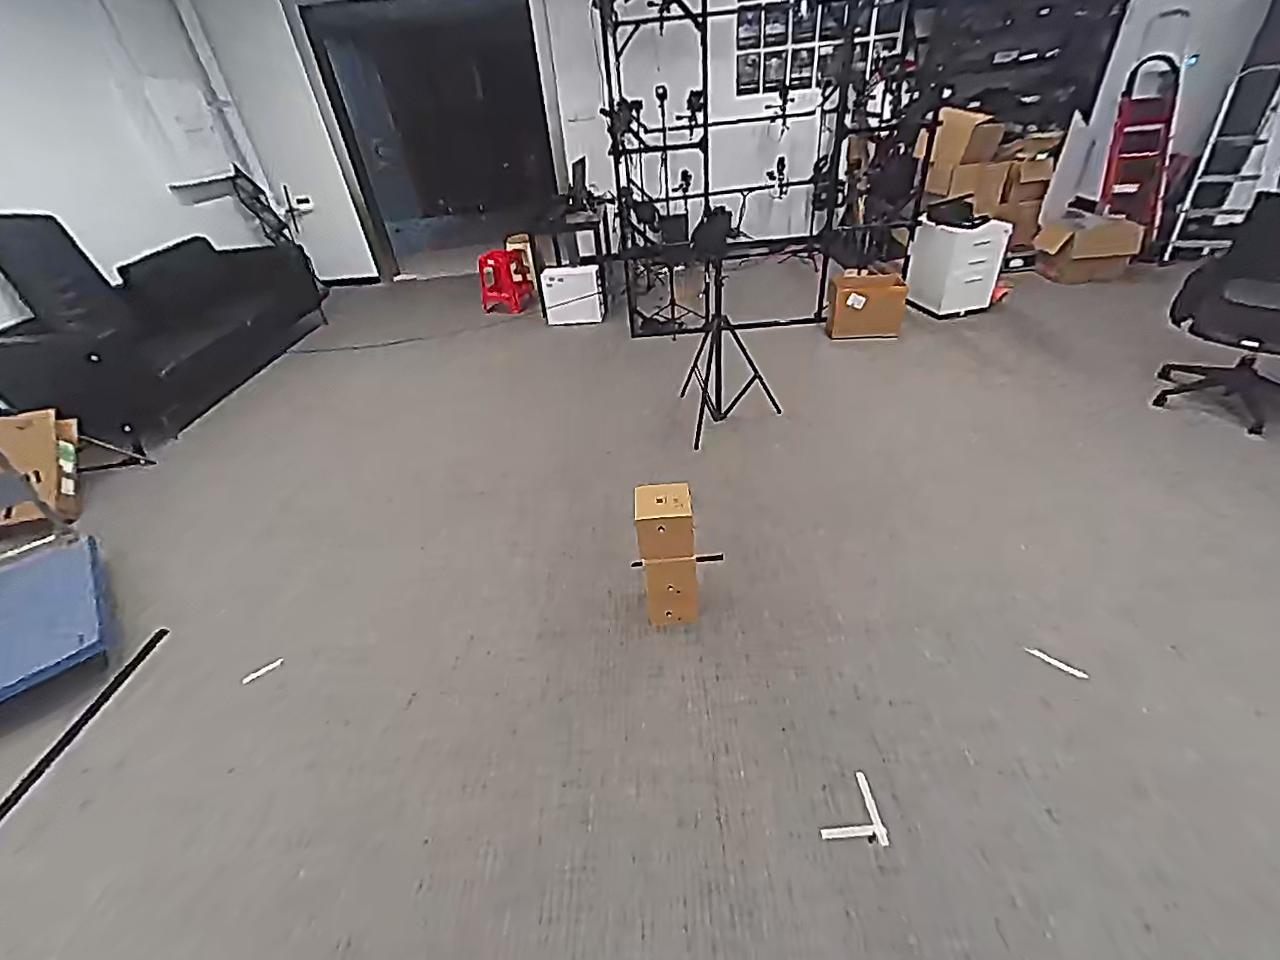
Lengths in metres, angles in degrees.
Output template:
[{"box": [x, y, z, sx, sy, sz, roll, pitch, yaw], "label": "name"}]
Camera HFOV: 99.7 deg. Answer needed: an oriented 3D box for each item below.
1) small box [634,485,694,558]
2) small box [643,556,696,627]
[{"box": [0.076, 0.134, 1.718, 0.179, 0.176, 0.168, -4, 37, 2], "label": "small box"}, {"box": [0.104, 0.394, 1.919, 0.168, 0.176, 0.179, -8, 36, -2], "label": "small box"}]
